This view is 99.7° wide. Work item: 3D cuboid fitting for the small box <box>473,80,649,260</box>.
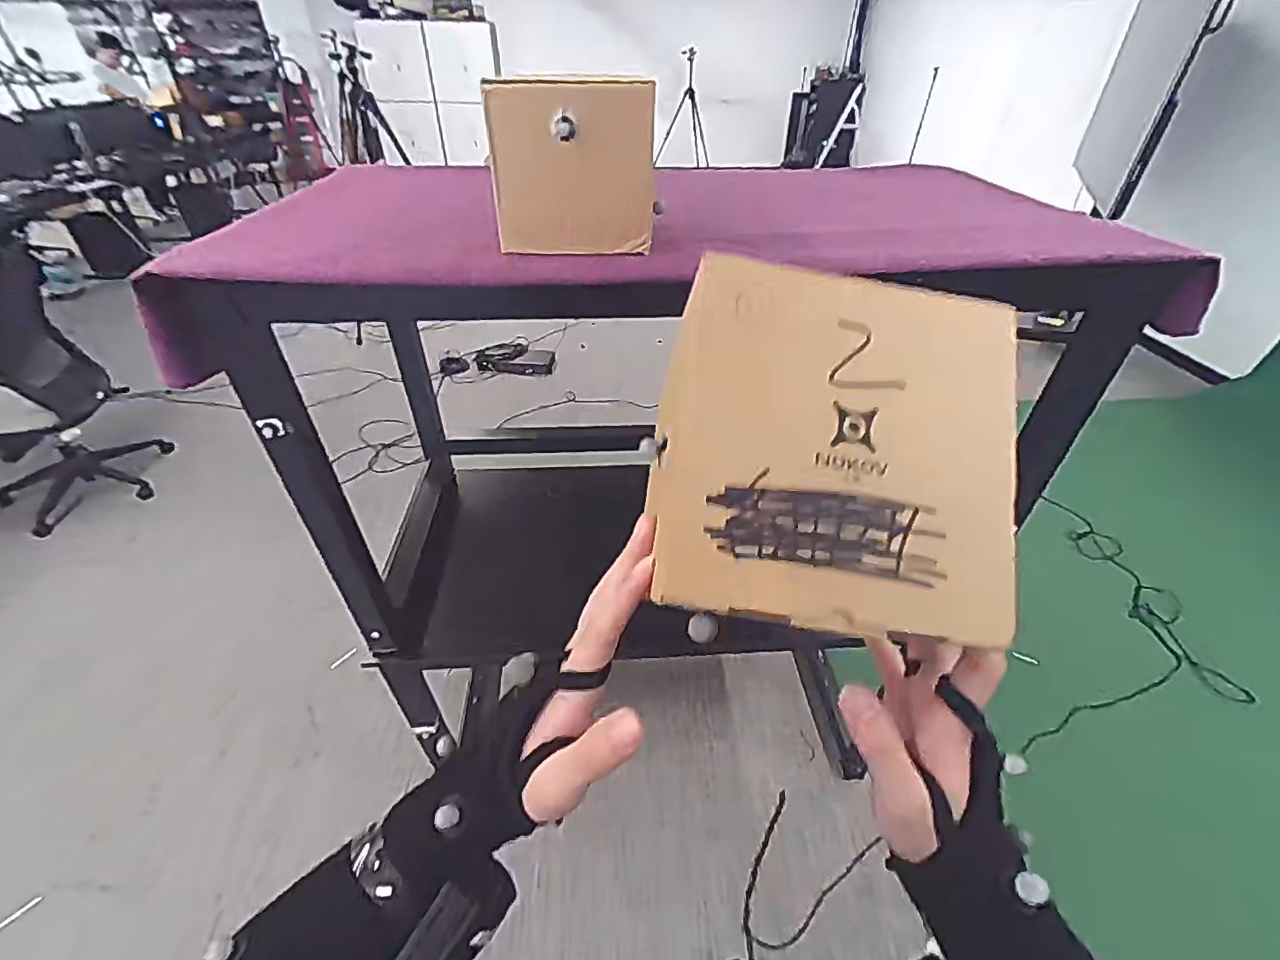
[{"bbox_3d":[-0.078,-0.367,0.640,0.179,0.176,0.168,0,38,0],"label":"small box"}]
